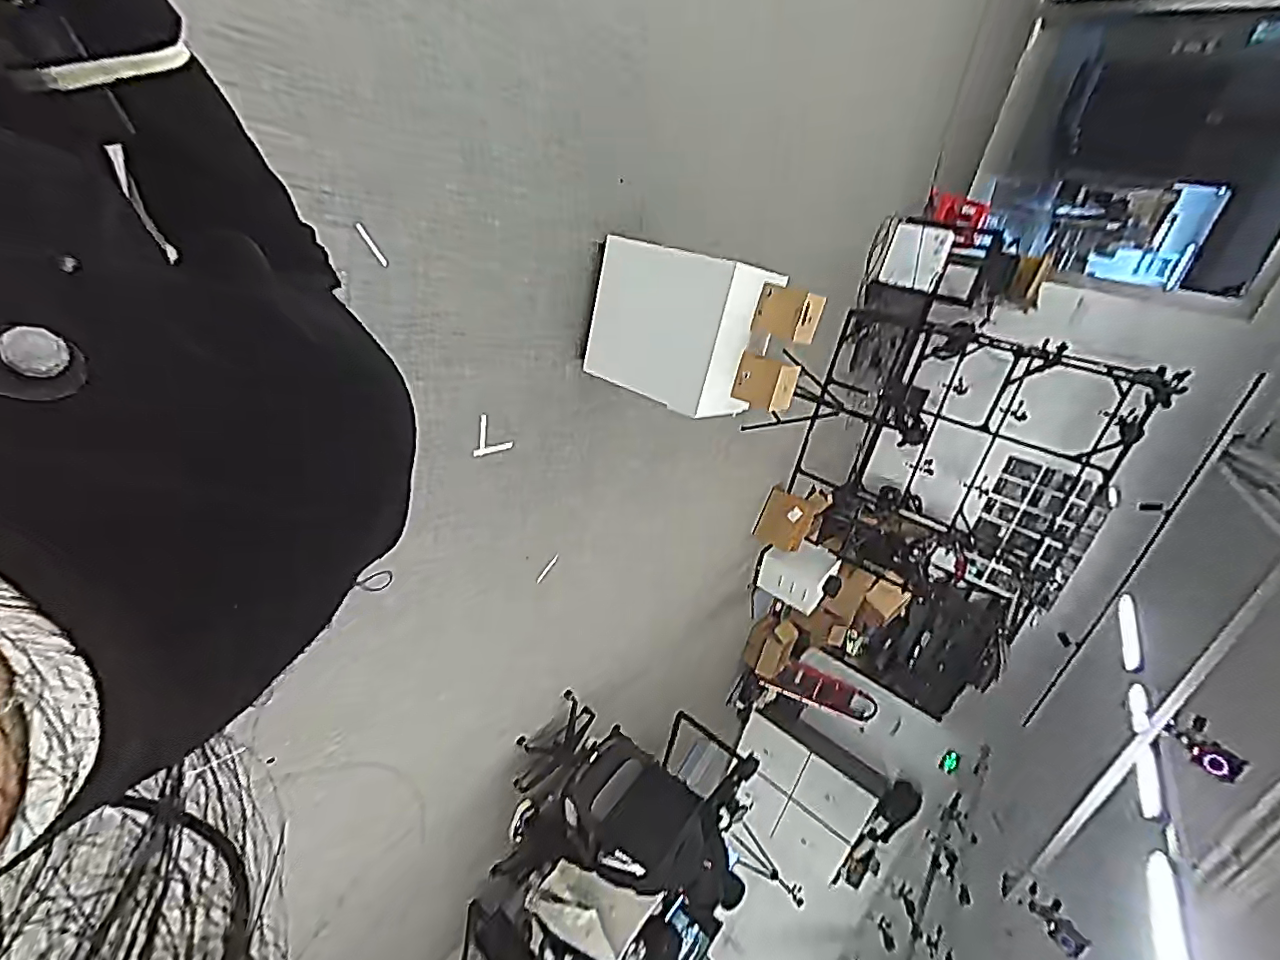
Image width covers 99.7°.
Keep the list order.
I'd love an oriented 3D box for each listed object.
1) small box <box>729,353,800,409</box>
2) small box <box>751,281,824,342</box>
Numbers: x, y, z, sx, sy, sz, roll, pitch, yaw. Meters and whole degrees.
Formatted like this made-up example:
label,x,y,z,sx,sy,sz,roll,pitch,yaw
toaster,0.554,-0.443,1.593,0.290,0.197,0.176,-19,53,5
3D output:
label,x,y,z,sx,sy,sz,roll,pitch,yaw
small box,0.457,-0.368,1.996,0.179,0.176,0.168,-14,123,-49
small box,0.515,-0.594,1.905,0.179,0.176,0.168,-14,125,-52
